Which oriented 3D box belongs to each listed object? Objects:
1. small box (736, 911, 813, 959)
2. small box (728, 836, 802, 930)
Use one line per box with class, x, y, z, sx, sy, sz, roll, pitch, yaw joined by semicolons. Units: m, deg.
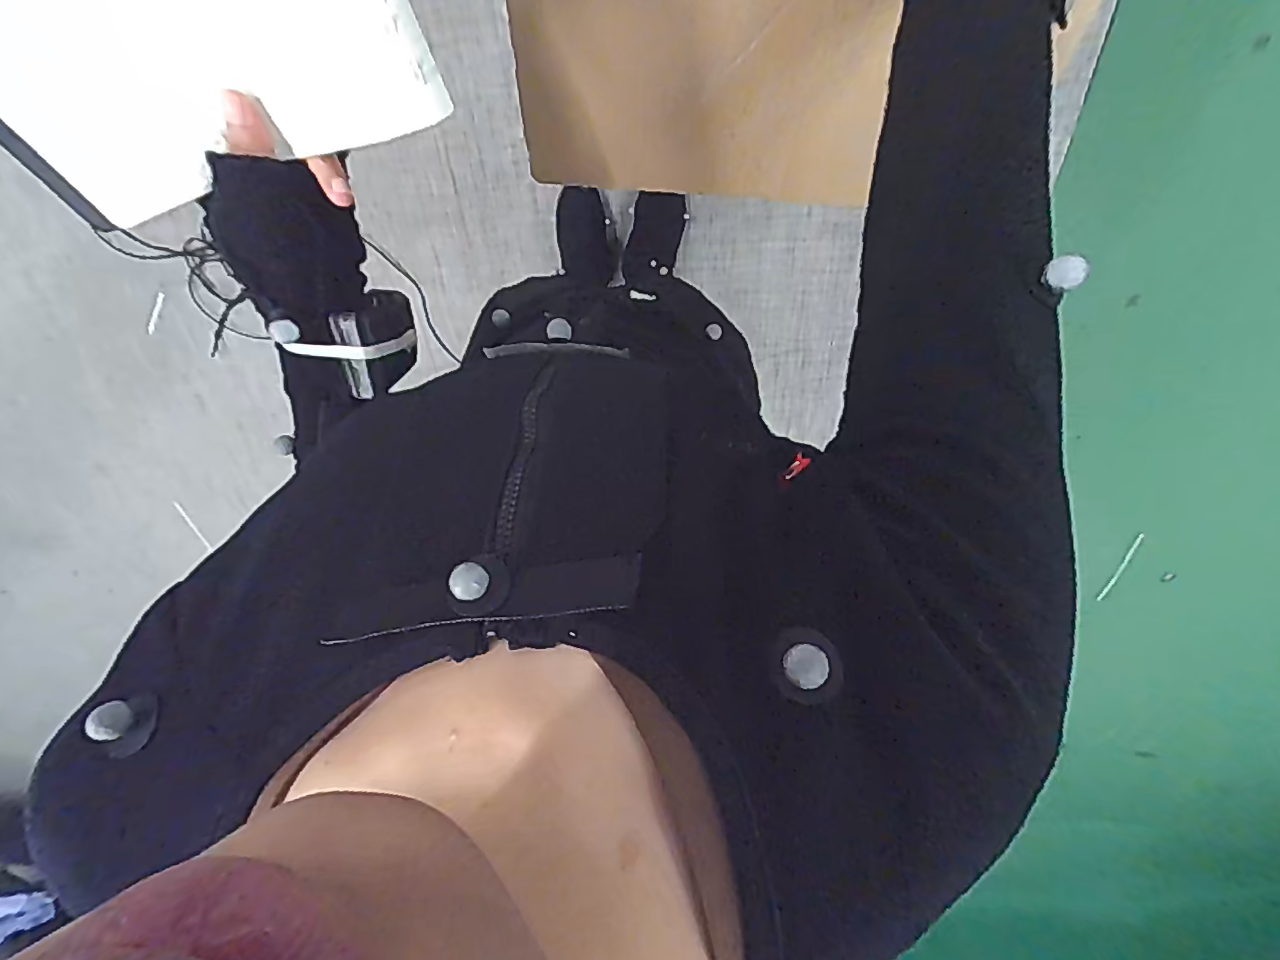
small box;0.330;1.192;1.333;0.168;0.176;0.179;-1;127;3
small box;0.332;1.094;1.464;0.168;0.176;0.179;-3;126;3
